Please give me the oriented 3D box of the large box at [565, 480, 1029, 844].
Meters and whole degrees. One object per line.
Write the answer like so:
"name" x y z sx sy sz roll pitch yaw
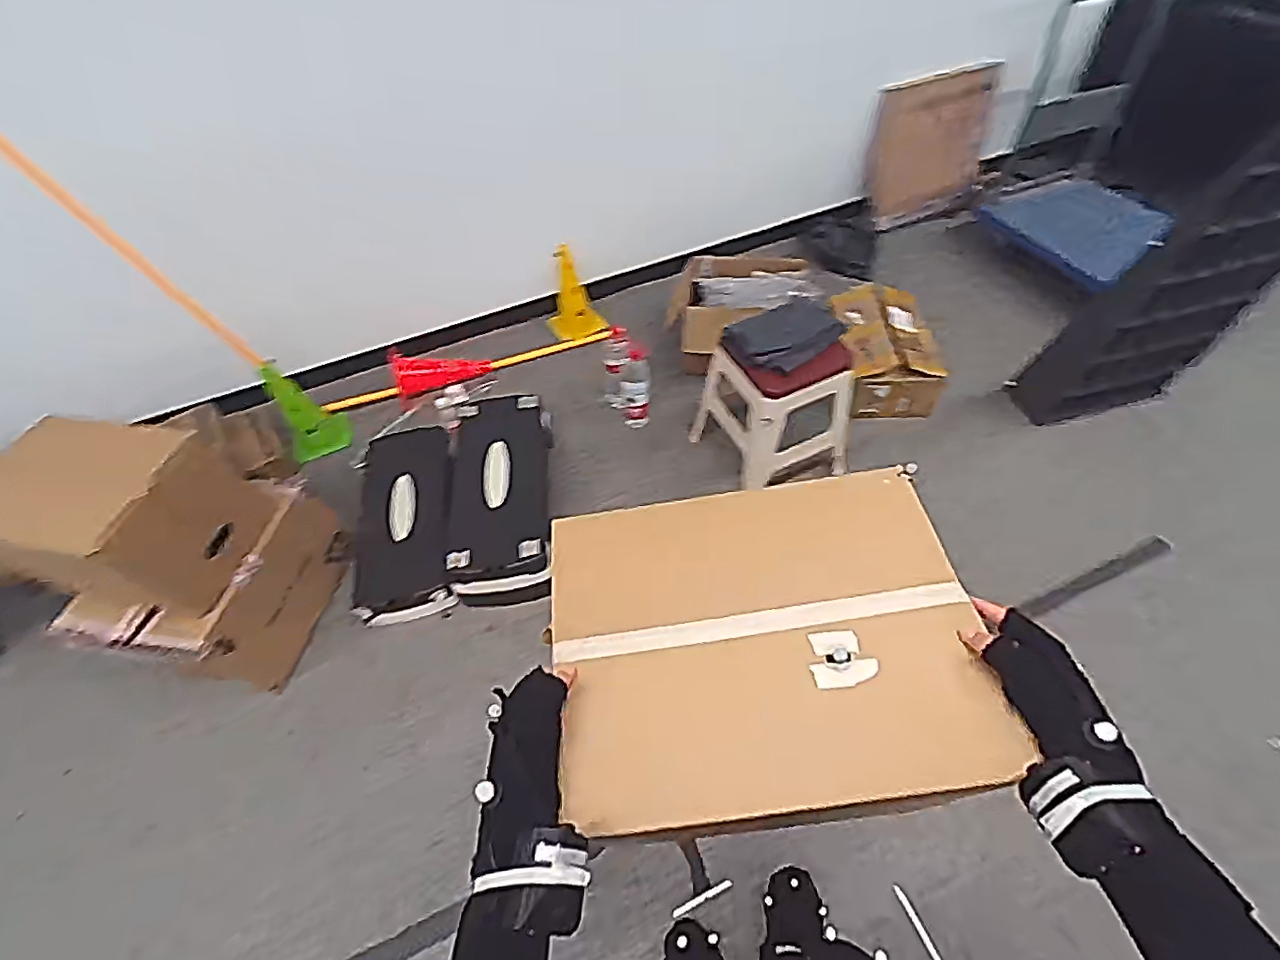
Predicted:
"large box" 0.138 0.238 0.670 0.408 0.320 0.320 -8 55 2
